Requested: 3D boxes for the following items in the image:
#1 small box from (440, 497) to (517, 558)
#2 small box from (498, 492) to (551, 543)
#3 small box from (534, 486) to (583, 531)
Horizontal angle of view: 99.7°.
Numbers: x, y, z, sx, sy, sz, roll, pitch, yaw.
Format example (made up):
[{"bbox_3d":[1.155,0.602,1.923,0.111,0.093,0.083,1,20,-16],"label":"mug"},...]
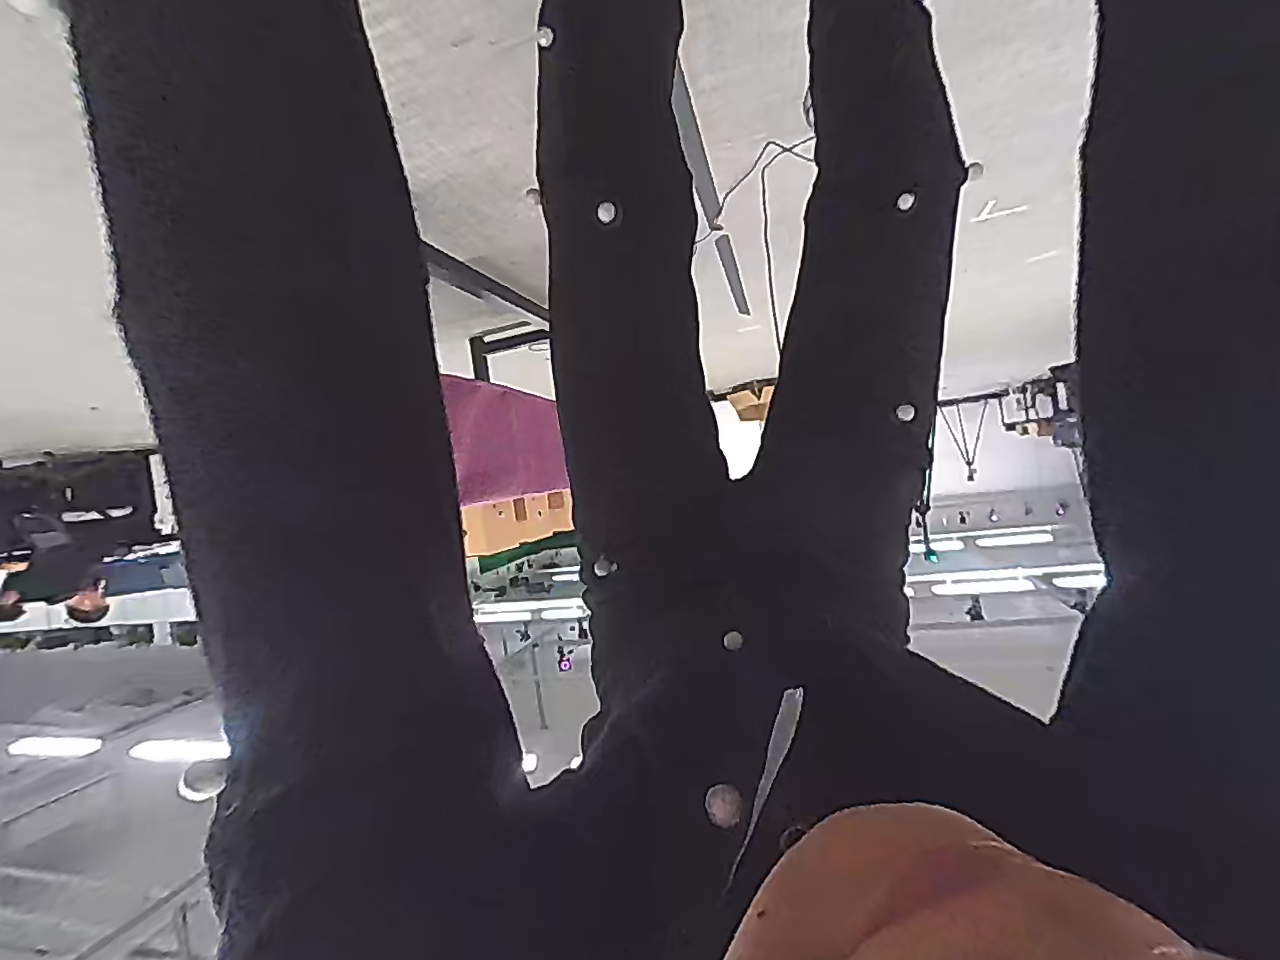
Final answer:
[{"bbox_3d":[-0.524,0.148,1.747,0.179,0.176,0.168,-9,-179,21],"label":"small box"},{"bbox_3d":[-0.450,0.135,1.977,0.179,0.176,0.168,-8,-179,18],"label":"small box"},{"bbox_3d":[-0.353,0.118,2.233,0.179,0.176,0.168,-8,-179,20],"label":"small box"}]
